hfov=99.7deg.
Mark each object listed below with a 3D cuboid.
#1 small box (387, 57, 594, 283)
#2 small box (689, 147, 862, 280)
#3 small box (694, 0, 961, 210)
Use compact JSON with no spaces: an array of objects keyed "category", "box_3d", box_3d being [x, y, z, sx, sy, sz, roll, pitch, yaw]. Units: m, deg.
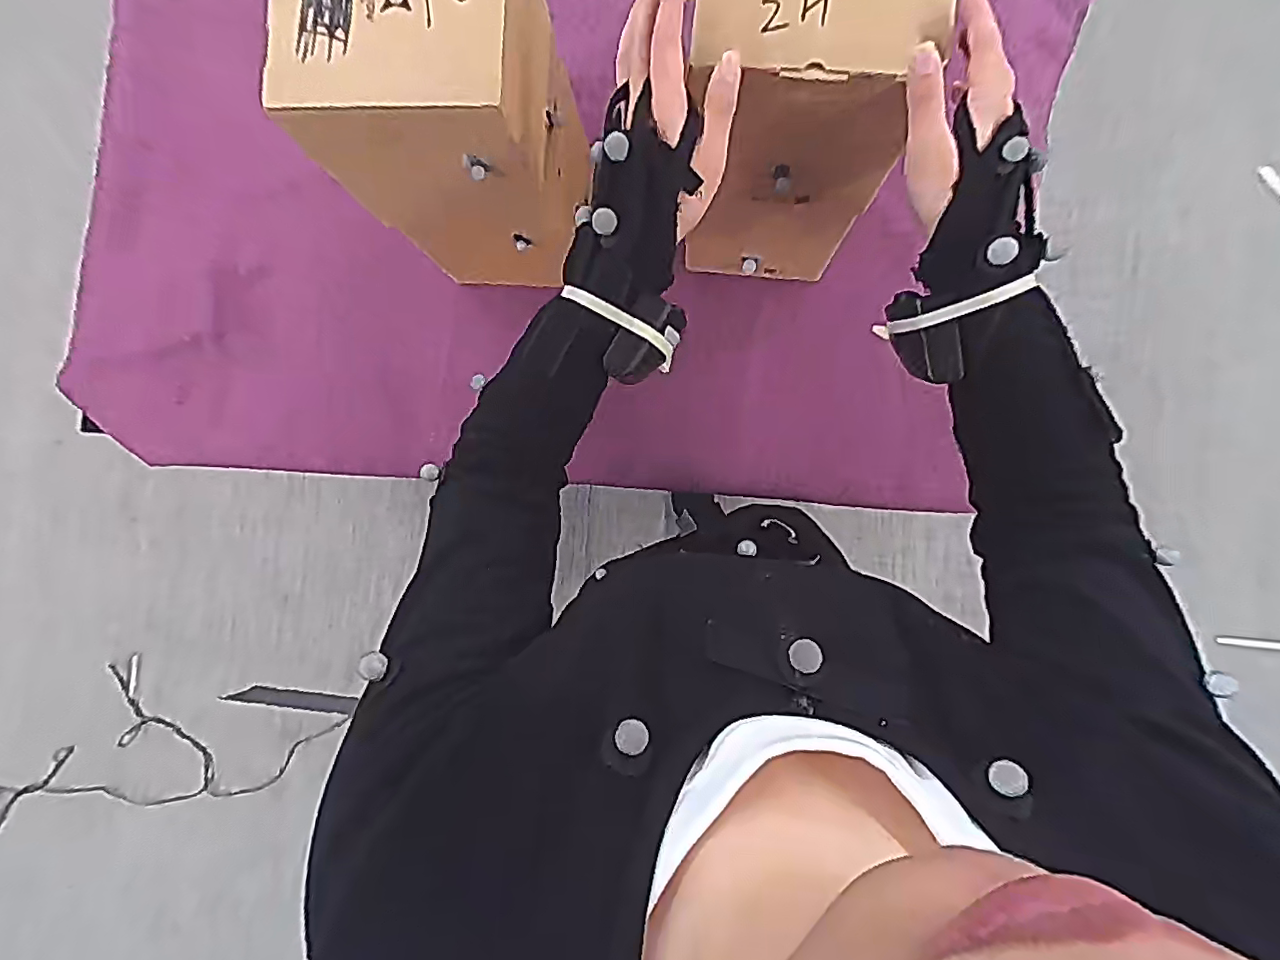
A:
[{"category":"small box","box_3d":[-0.157,-0.338,0.620,0.179,0.176,0.168,4,88,5]},{"category":"small box","box_3d":[0.144,-0.343,0.591,0.168,0.176,0.179,8,90,5]},{"category":"small box","box_3d":[0.133,-0.347,0.427,0.168,0.176,0.179,7,90,6]}]
